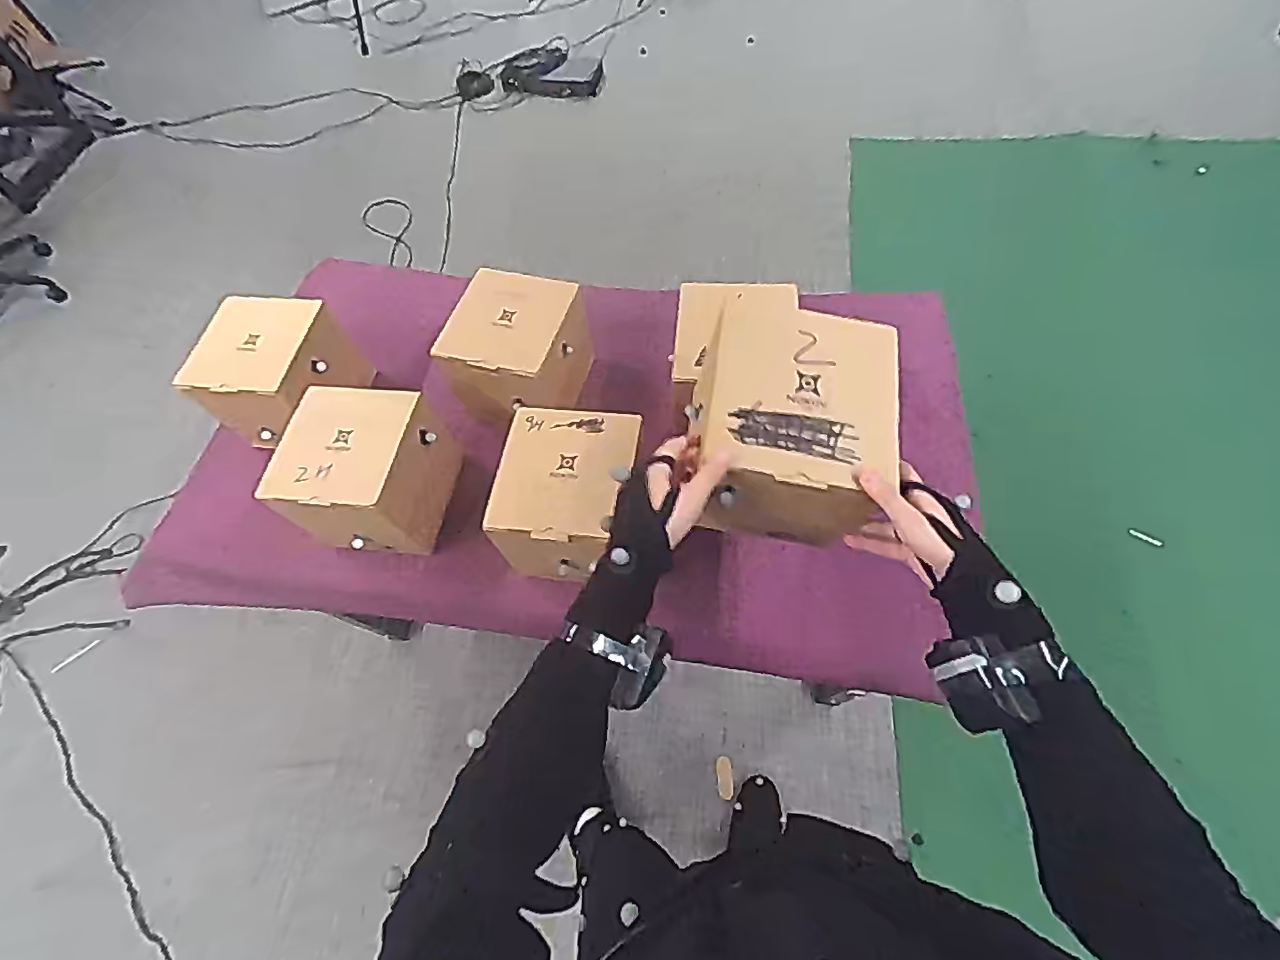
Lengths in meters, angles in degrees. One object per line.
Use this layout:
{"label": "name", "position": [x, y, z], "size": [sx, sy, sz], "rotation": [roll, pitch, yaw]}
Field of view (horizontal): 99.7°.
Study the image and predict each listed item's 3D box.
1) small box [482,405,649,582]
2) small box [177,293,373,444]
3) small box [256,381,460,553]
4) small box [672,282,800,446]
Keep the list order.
{"label": "small box", "position": [-0.083, 0.024, 0.715], "size": [0.168, 0.176, 0.179], "rotation": [6, 62, 8]}
{"label": "small box", "position": [-0.560, -0.169, 0.863], "size": [0.168, 0.176, 0.179], "rotation": [5, 64, 7]}
{"label": "small box", "position": [-0.375, -0.015, 0.762], "size": [0.168, 0.176, 0.179], "rotation": [5, 63, 8]}
{"label": "small box", "position": [0.139, -0.165, 0.796], "size": [0.168, 0.176, 0.179], "rotation": [4, 62, 7]}
